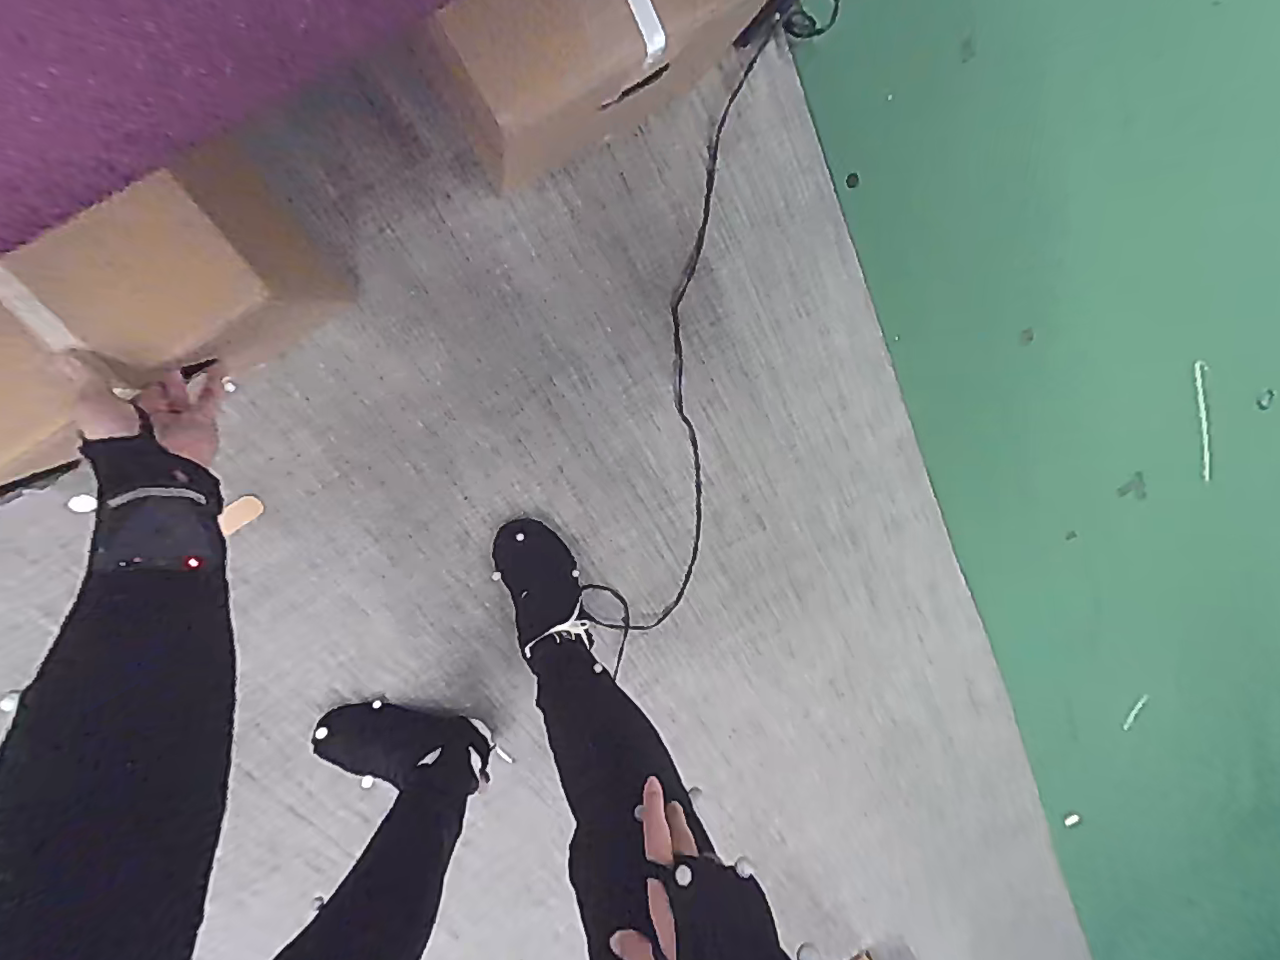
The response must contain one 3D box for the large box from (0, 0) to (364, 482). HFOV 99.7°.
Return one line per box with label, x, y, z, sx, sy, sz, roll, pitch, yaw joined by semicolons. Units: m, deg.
large box;-0.575;-0.273;0.544;0.320;0.320;0.408;-35;111;-2
